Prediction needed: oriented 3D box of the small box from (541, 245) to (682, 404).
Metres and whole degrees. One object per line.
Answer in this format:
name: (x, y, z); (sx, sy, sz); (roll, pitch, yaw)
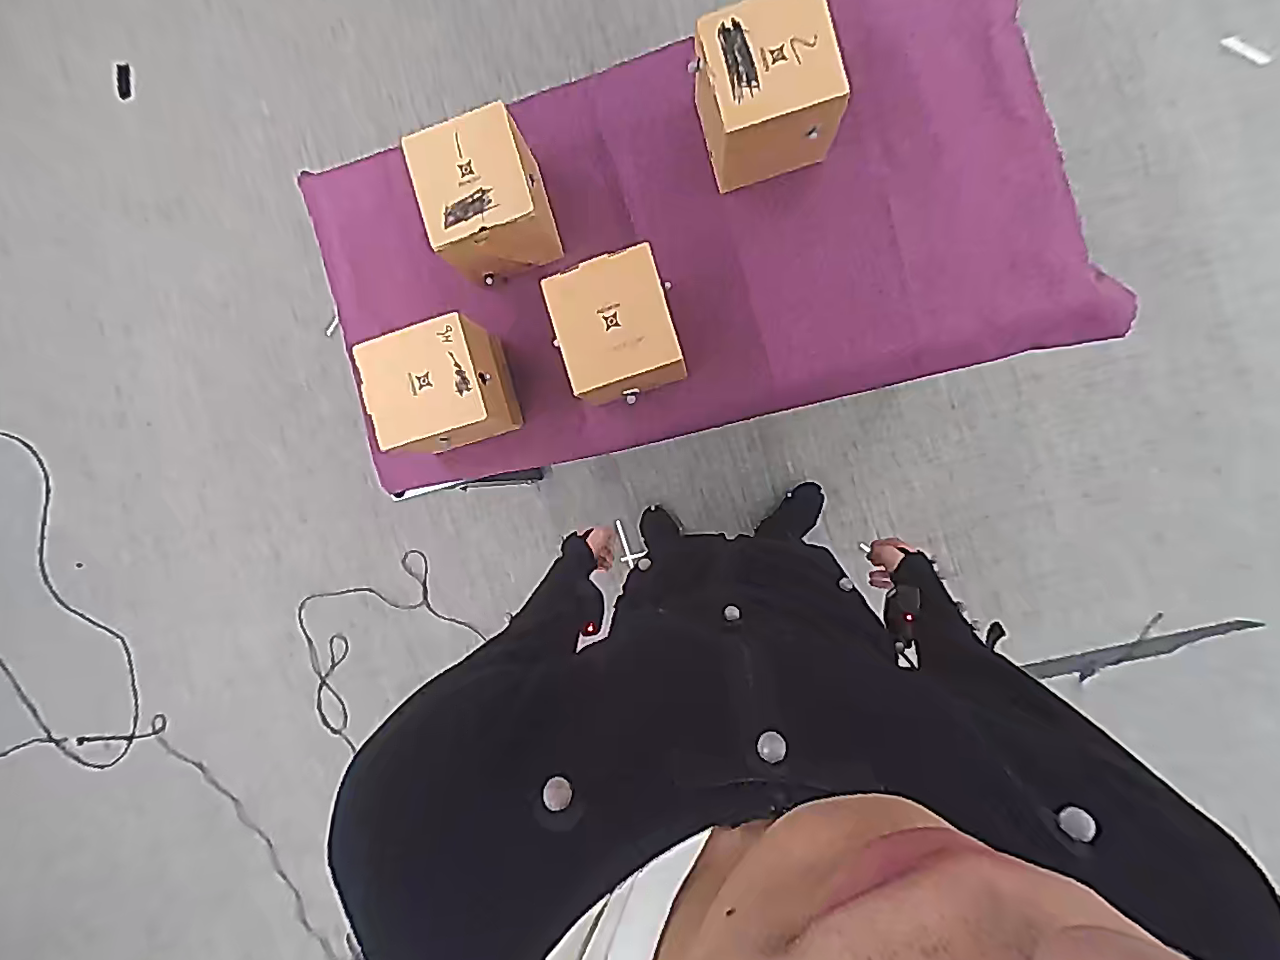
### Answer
small box: (-0.036, -0.230, 0.847); (0.168, 0.176, 0.179); (-17, 90, 7)

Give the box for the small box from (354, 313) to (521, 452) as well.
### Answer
small box: (-0.318, -0.146, 0.878); (0.179, 0.176, 0.168); (-16, 89, 7)

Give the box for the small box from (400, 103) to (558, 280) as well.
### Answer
small box: (-0.245, -0.442, 0.868); (0.168, 0.176, 0.179); (-17, 89, 6)
